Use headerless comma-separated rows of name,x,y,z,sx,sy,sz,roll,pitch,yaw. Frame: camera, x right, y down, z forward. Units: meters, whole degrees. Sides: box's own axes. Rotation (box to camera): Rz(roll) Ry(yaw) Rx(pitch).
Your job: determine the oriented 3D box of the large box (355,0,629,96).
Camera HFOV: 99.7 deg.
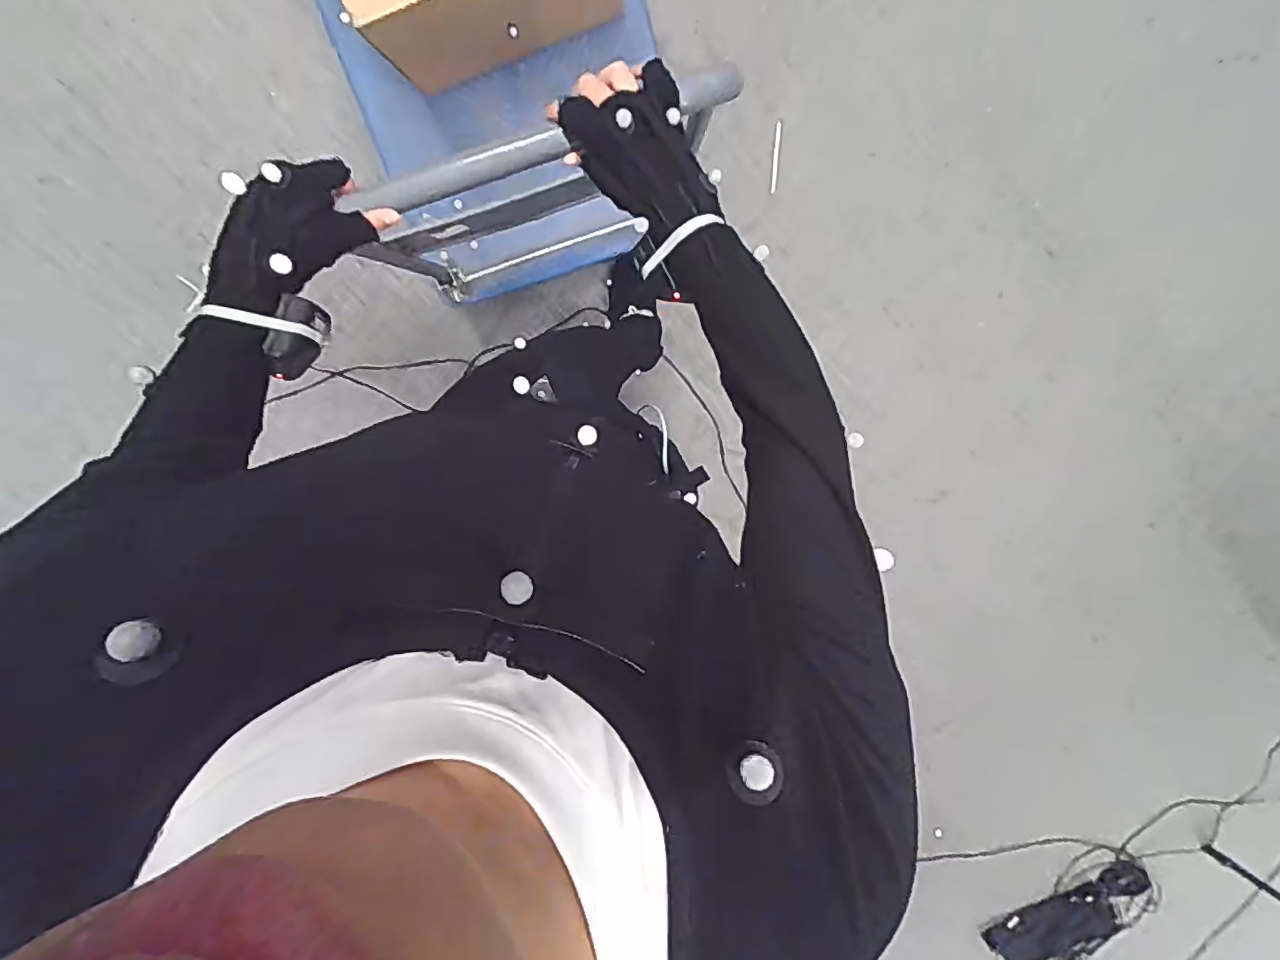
large box,-0.253,-0.883,0.834,0.408,0.320,0.320,-20,109,6
